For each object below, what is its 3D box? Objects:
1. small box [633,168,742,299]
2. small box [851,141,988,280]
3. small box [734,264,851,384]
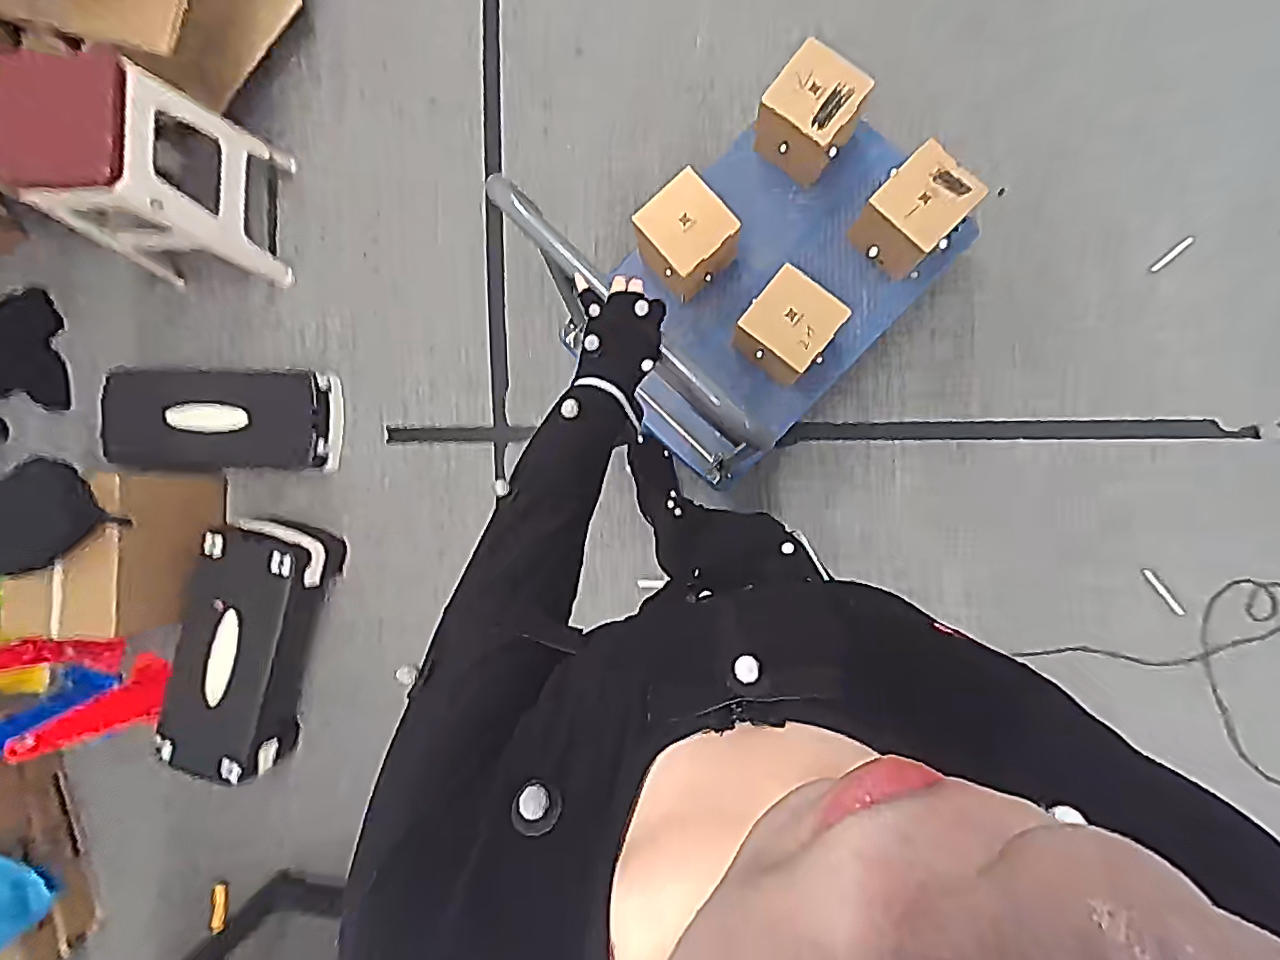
[{"bbox_3d":[0.105,-0.547,1.227,0.168,0.176,0.179,-41,87,3],"label":"small box"},{"bbox_3d":[0.595,-0.576,1.180,0.179,0.176,0.168,-45,86,5],"label":"small box"},{"bbox_3d":[0.326,-0.335,1.202,0.179,0.176,0.168,40,93,5],"label":"small box"}]
